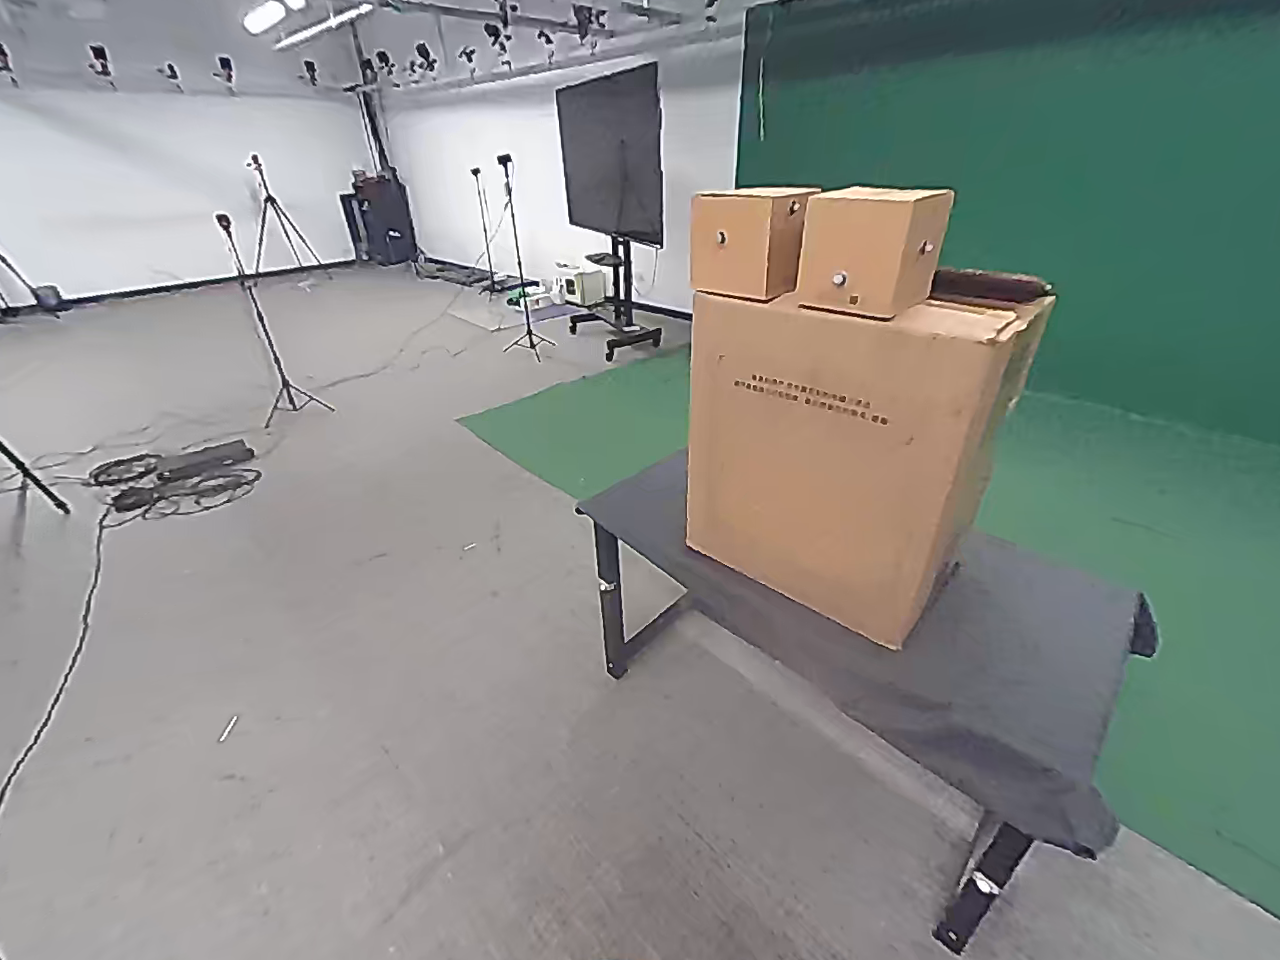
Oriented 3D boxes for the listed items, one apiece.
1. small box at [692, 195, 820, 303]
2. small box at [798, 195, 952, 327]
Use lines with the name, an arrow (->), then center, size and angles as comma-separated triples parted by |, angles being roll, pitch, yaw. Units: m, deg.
small box -> 0.211, -0.438, 1.019 | 0.179, 0.176, 0.168 | 25, 40, 37
small box -> 0.380, -0.367, 0.895 | 0.168, 0.176, 0.179 | 26, 42, 36
